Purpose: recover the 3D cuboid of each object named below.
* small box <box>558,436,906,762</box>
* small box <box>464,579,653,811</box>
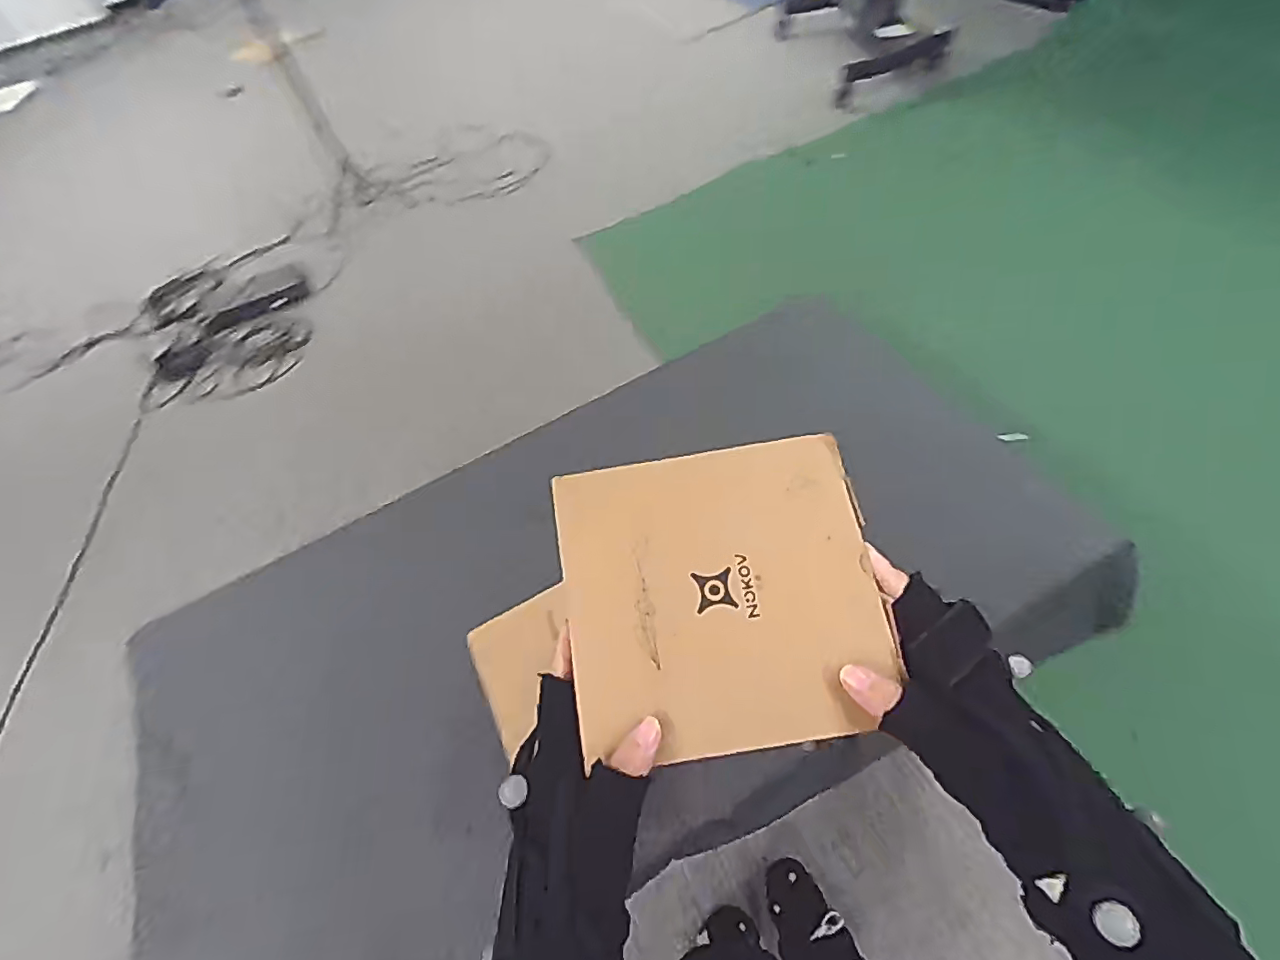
[{"bbox_3d":[0.049,0.088,0.385,0.179,0.176,0.168,-10,69,1],"label":"small box"},{"bbox_3d":[-0.058,0.227,0.591,0.168,0.176,0.179,-31,58,-11],"label":"small box"}]
